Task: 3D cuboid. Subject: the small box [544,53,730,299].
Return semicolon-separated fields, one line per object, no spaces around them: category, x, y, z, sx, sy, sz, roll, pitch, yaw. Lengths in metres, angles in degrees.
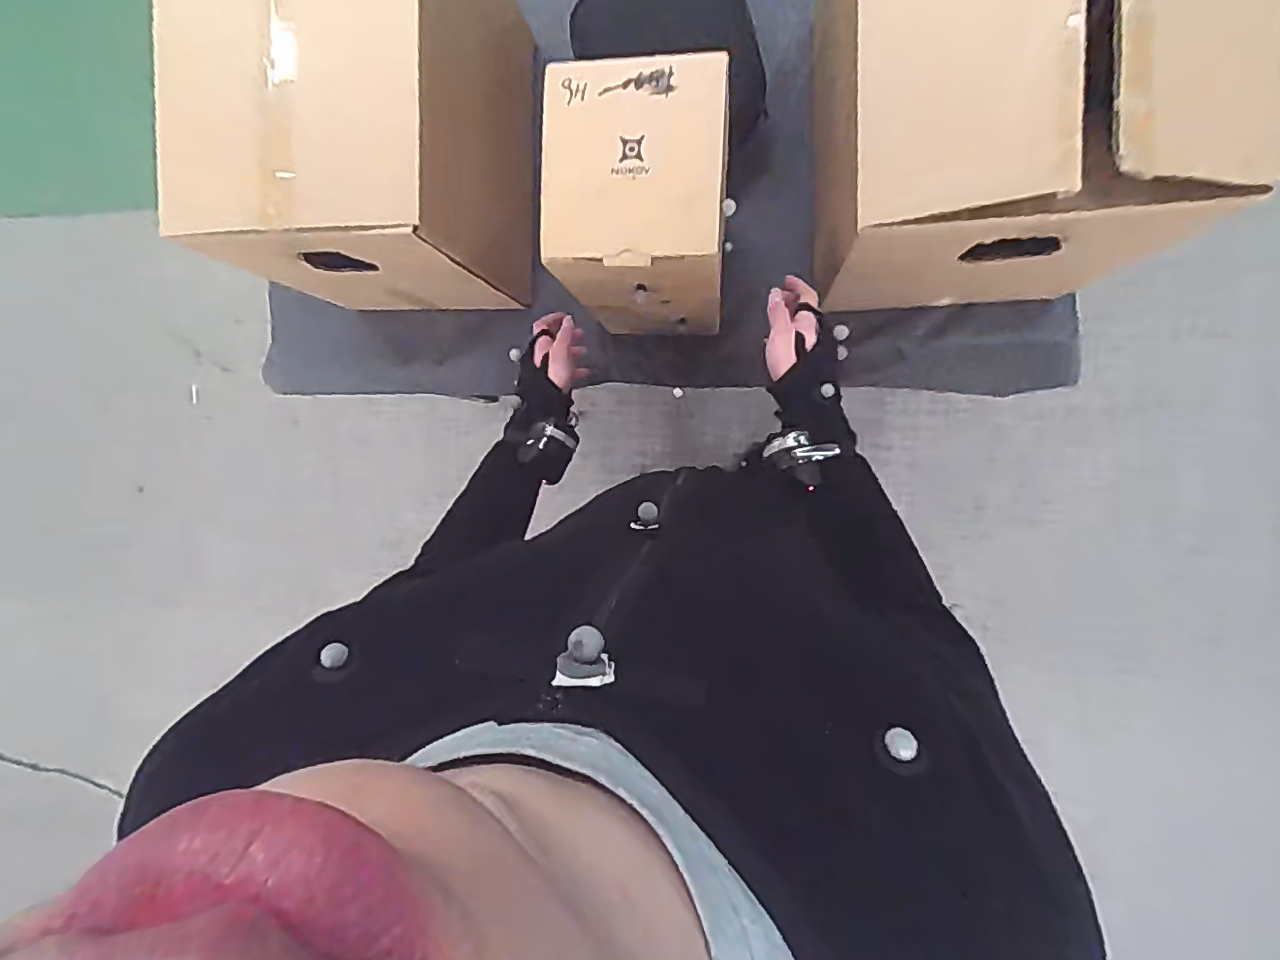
small box;0.006;-0.295;0.567;0.168;0.176;0.179;3;95;9
